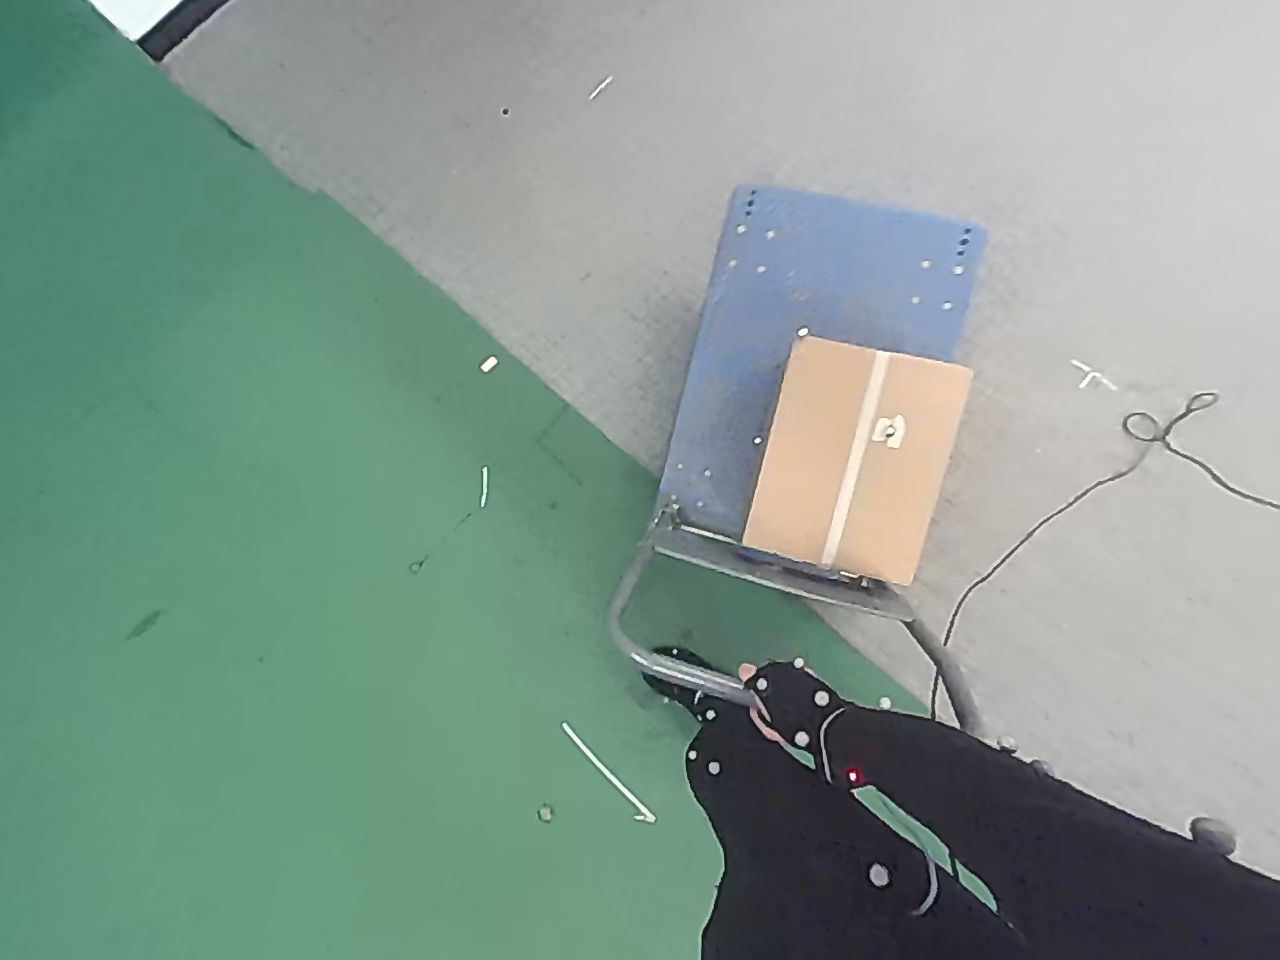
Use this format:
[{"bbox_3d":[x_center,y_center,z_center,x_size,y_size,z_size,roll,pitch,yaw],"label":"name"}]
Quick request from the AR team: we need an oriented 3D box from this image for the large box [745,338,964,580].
[{"bbox_3d":[0.414,-0.046,1.143,0.320,0.320,0.408,13,95,8],"label":"large box"}]
